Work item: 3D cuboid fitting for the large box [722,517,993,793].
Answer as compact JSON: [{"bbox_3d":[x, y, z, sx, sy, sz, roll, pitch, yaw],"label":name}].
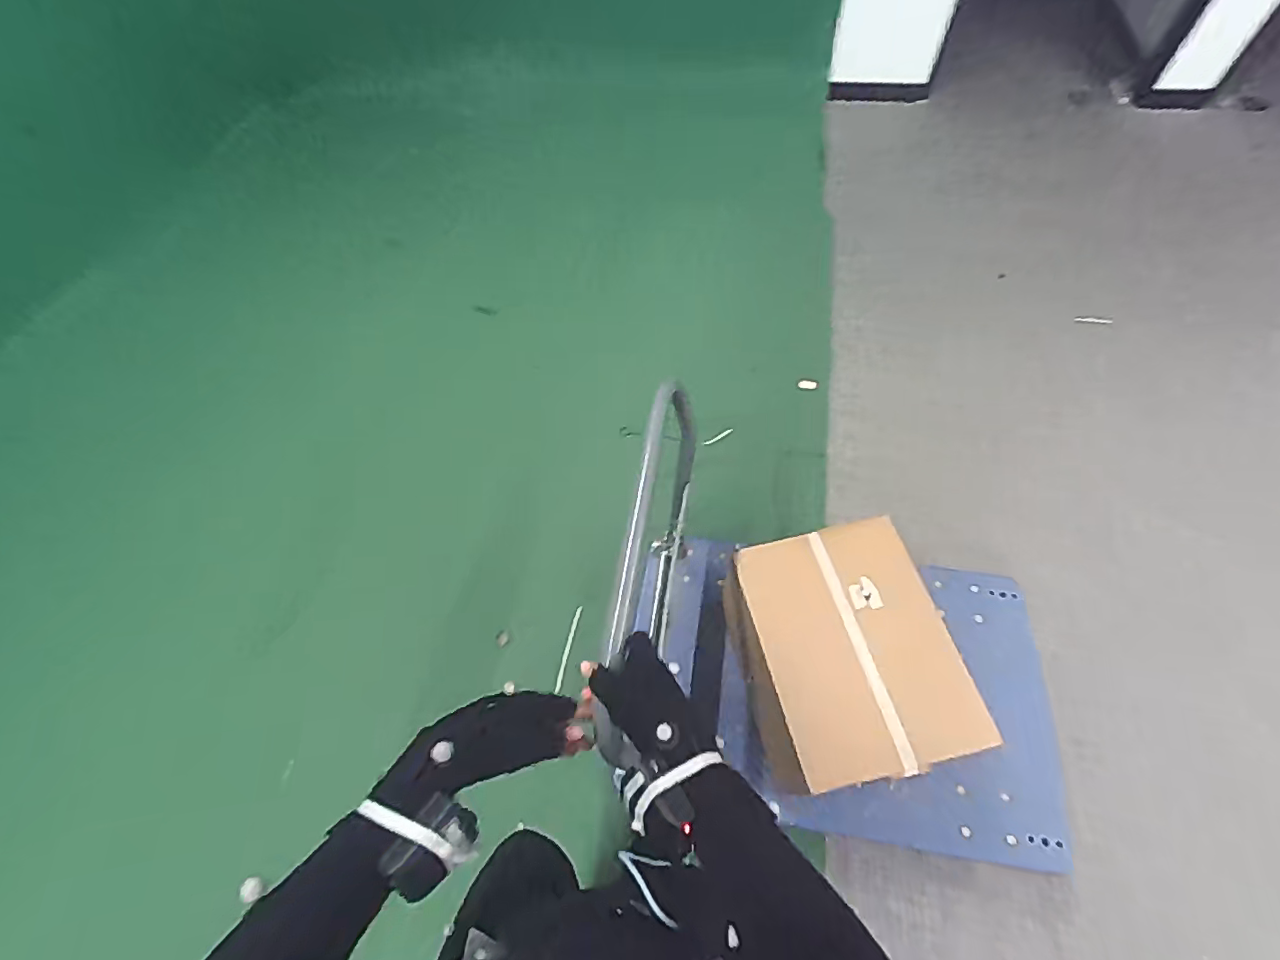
[{"bbox_3d":[0.368,0.346,1.054,0.320,0.320,0.408,-13,59,-4],"label":"large box"}]
